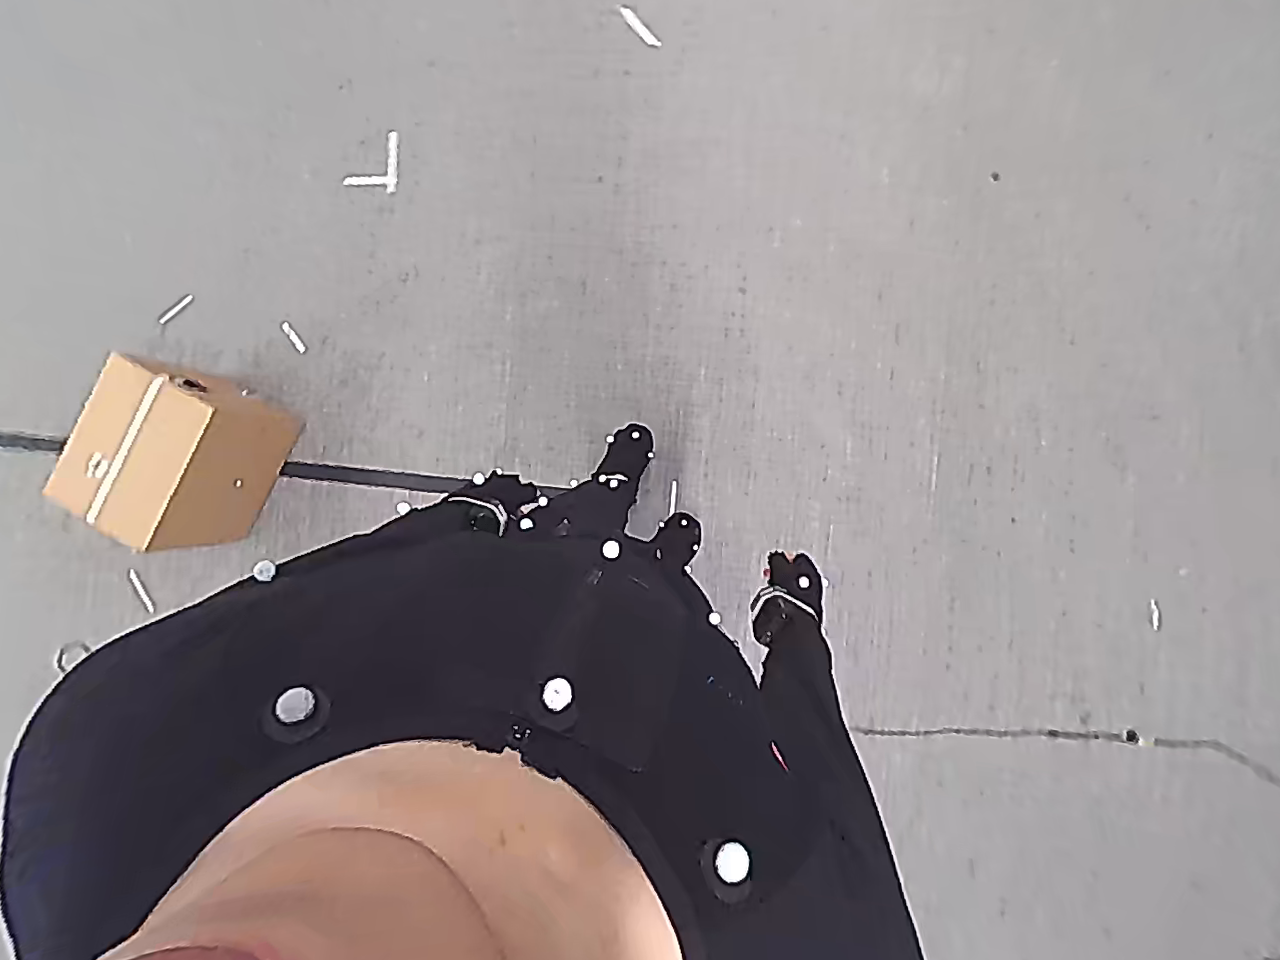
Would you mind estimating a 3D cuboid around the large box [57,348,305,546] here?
[{"bbox_3d":[-1.216,-0.086,1.470,0.320,0.320,0.408,29,93,5],"label":"large box"}]
